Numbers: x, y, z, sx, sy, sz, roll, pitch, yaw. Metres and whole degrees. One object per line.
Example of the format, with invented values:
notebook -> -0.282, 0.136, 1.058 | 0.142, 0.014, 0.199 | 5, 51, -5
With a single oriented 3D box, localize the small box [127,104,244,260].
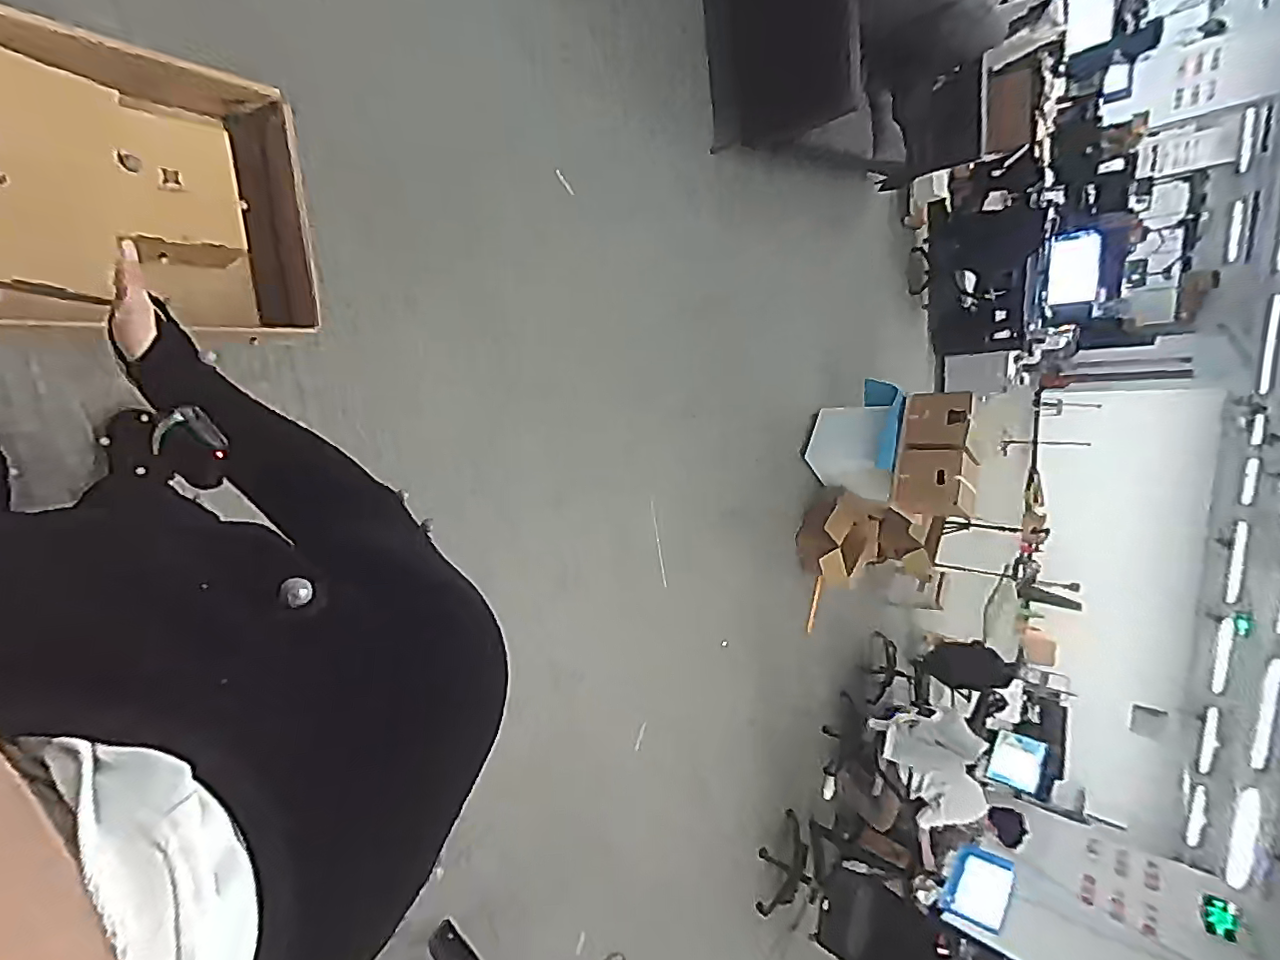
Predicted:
small box -> -0.759, -0.460, 0.854 | 0.168, 0.176, 0.179 | -15, 108, -46

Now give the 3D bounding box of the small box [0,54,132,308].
small box -> -0.567, -0.258, 0.472 | 0.168, 0.176, 0.179 | 1, 101, -47
